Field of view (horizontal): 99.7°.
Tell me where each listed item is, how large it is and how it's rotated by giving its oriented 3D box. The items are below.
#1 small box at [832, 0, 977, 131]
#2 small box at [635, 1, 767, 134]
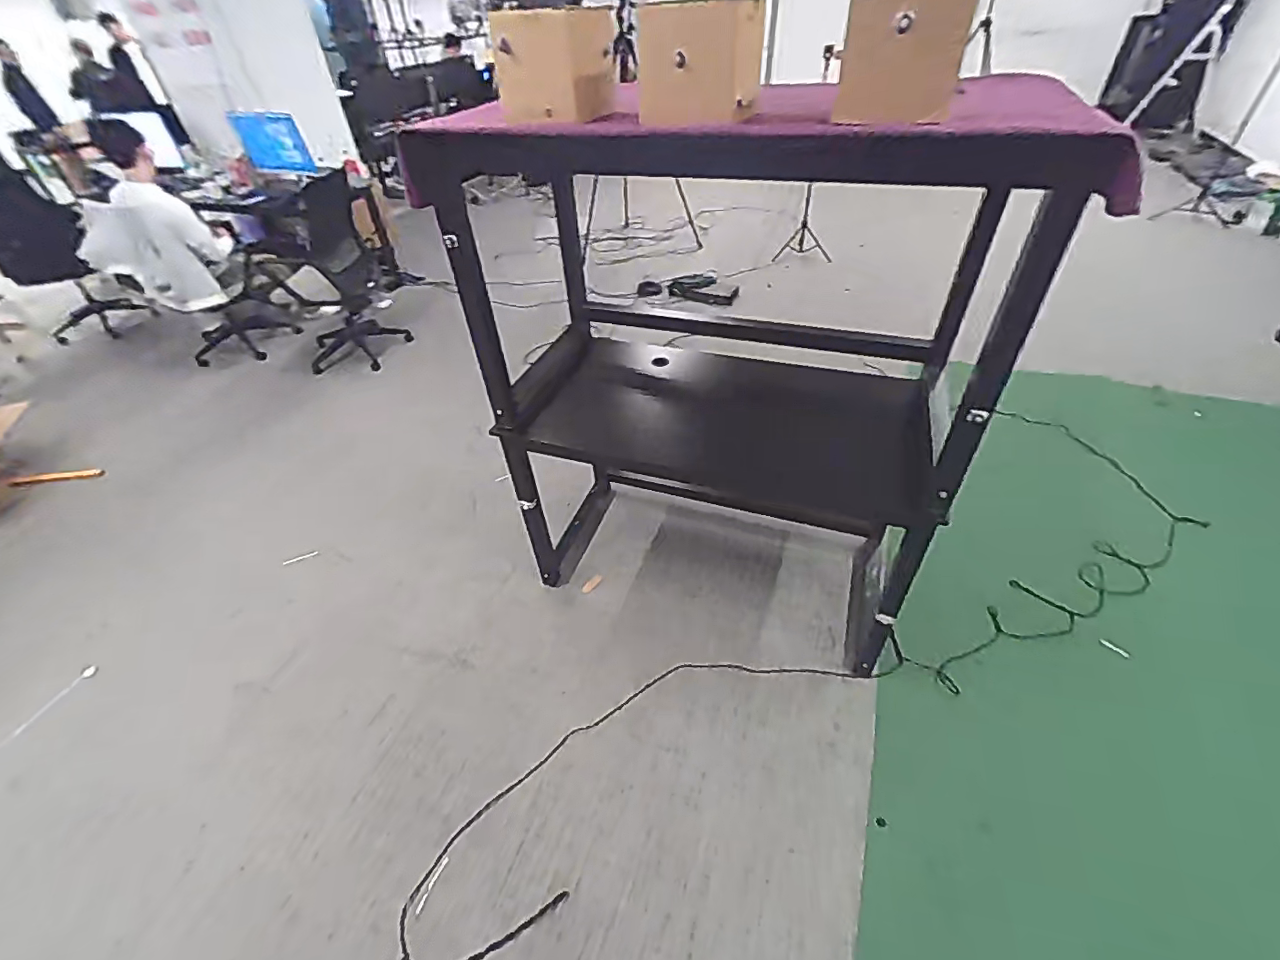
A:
[{"bbox_3d":[0.417,-0.667,0.862,0.179,0.176,0.168,14,44,20],"label":"small box"},{"bbox_3d":[0.110,-0.723,0.953,0.179,0.176,0.168,15,44,22],"label":"small box"}]
